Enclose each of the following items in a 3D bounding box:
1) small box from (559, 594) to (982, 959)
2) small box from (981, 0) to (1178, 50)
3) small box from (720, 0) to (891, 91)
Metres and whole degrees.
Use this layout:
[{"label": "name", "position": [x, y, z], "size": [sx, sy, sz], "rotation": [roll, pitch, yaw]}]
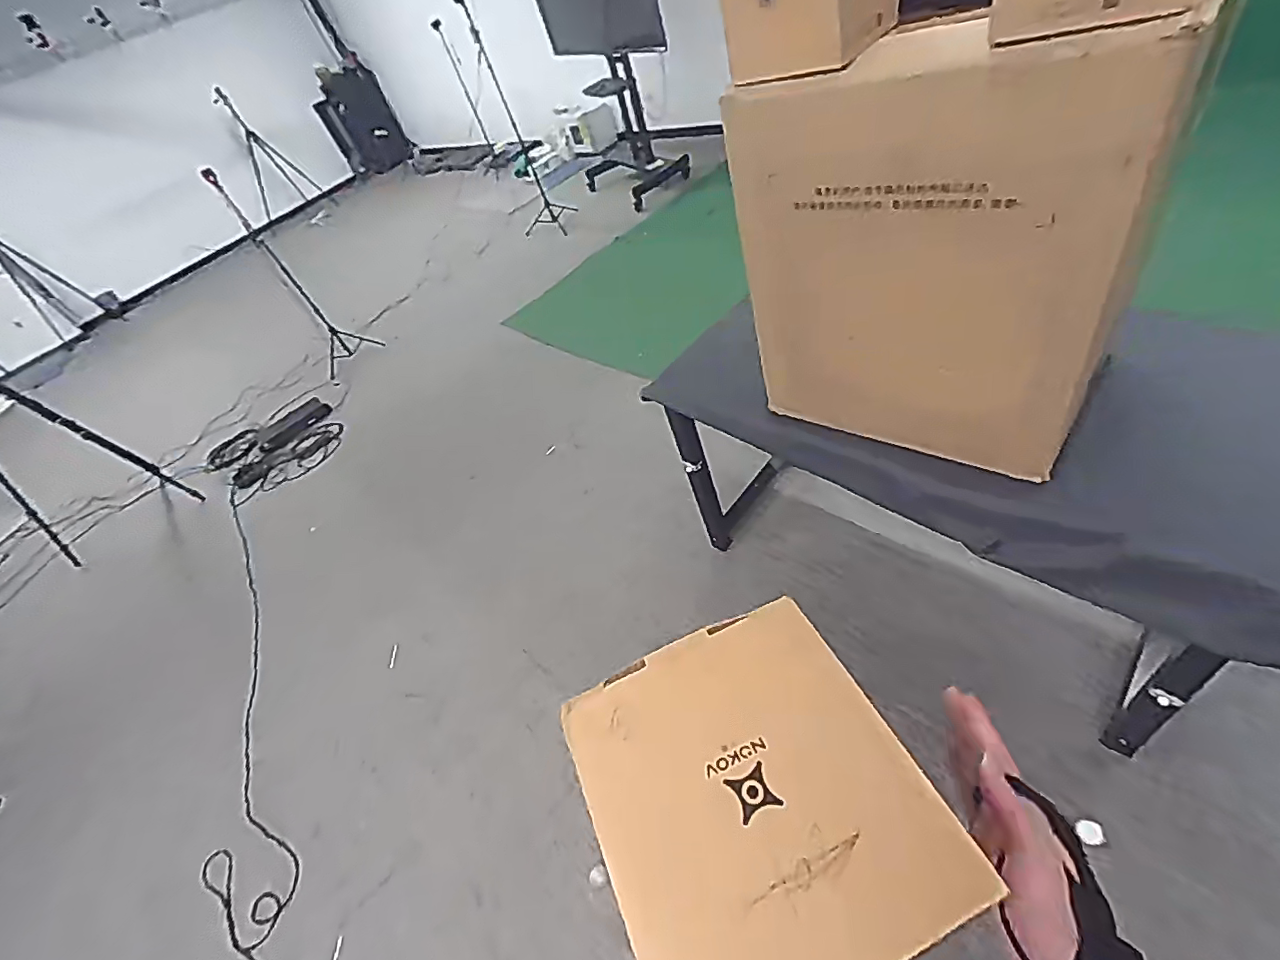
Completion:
[{"label": "small box", "position": [0.064, 0.213, 0.349], "size": [0.168, 0.176, 0.179], "rotation": [-22, 47, -9]}, {"label": "small box", "position": [0.463, -0.566, 0.539], "size": [0.168, 0.176, 0.179], "rotation": [18, 58, 34]}, {"label": "small box", "position": [0.220, -0.661, 0.736], "size": [0.179, 0.176, 0.168], "rotation": [22, 61, 40]}]
